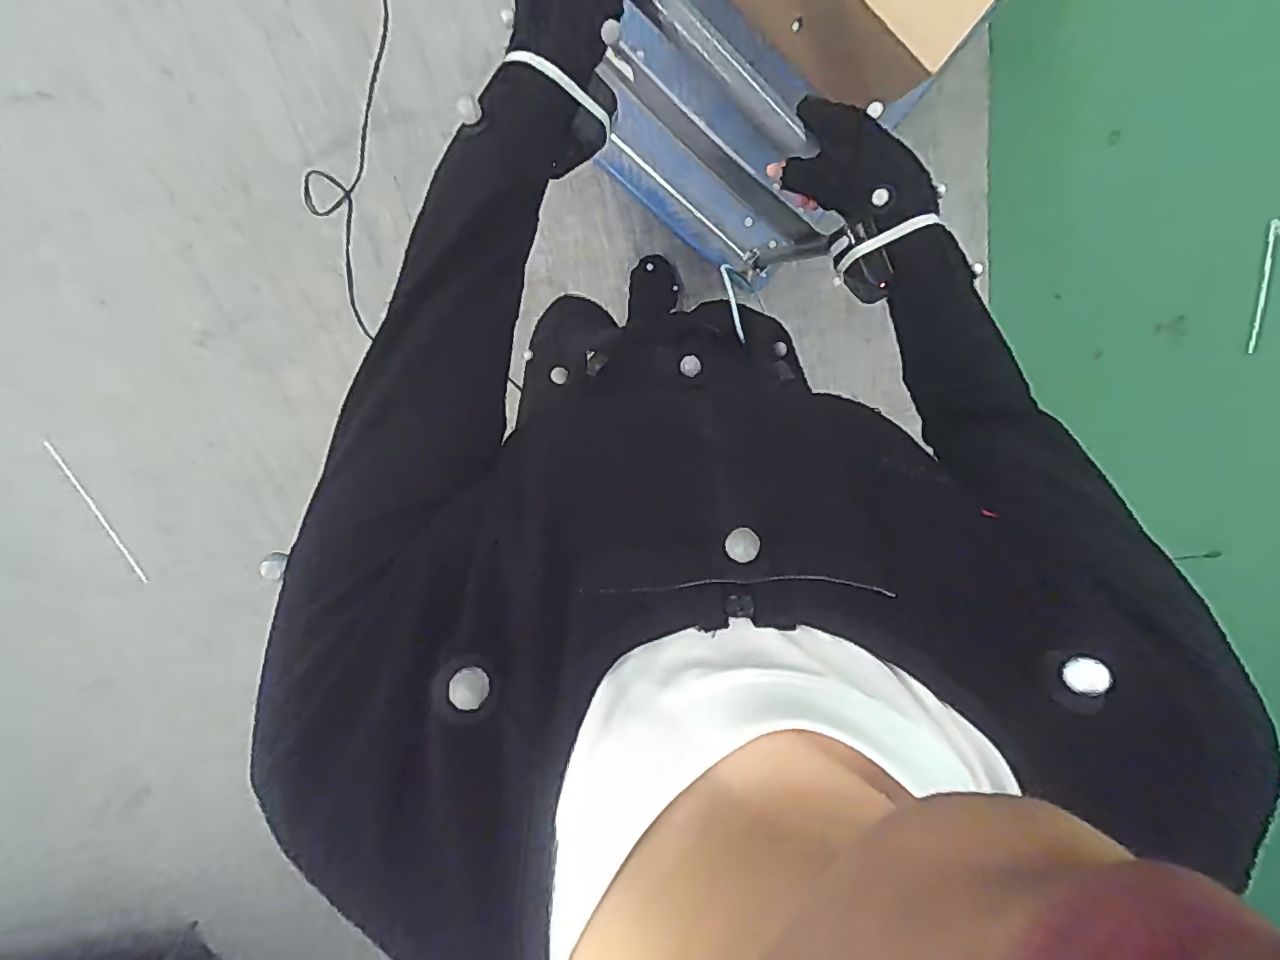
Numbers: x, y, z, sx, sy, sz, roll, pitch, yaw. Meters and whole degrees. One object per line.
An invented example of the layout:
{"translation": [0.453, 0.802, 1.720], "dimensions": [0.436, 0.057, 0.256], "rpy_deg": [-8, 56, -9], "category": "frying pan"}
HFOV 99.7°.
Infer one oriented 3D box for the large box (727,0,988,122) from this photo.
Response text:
{"translation": [0.354, -0.863, 0.839], "dimensions": [0.408, 0.320, 0.320], "rpy_deg": [36, 107, -12], "category": "large box"}
